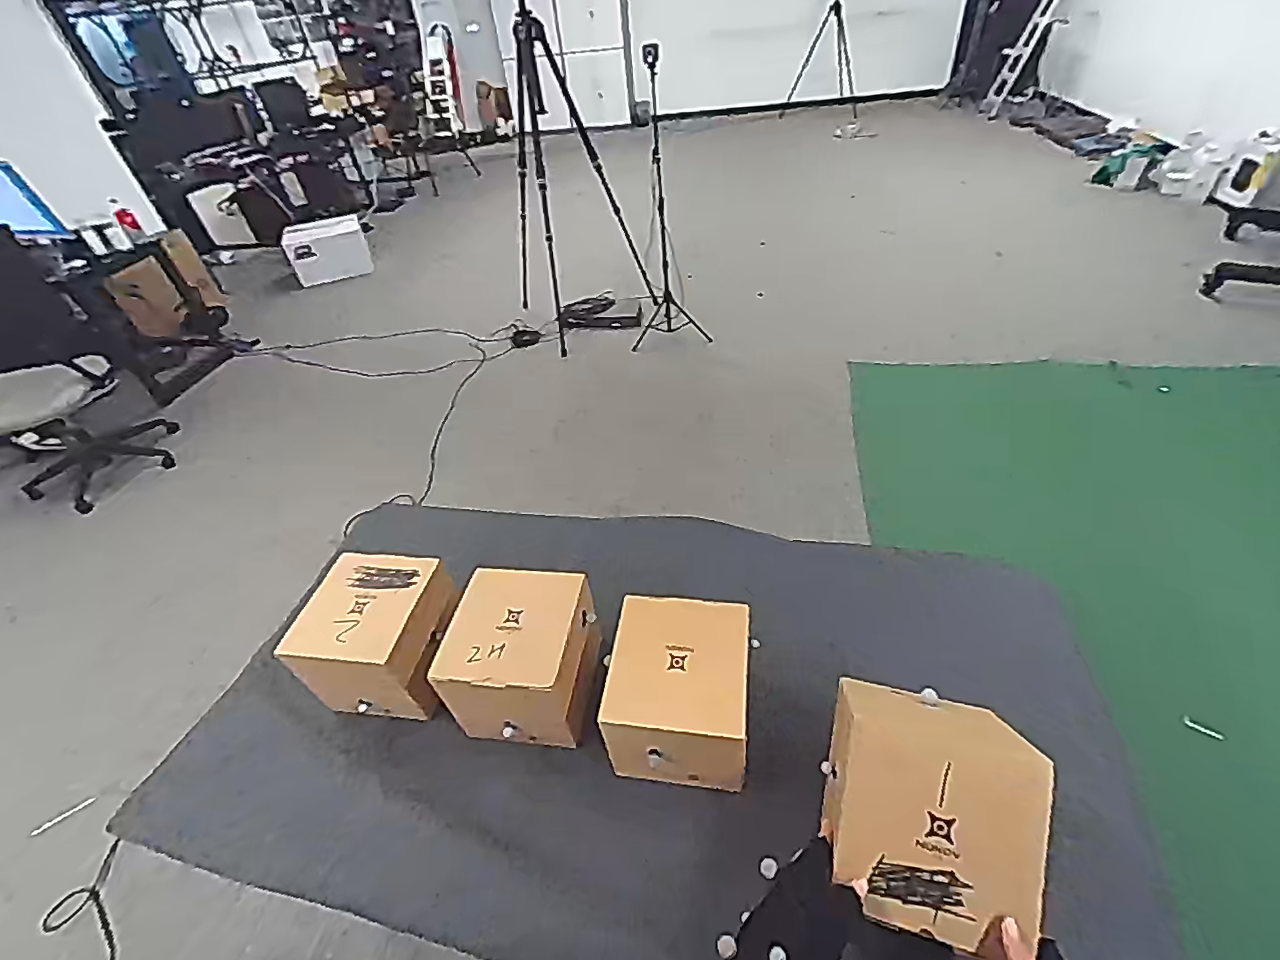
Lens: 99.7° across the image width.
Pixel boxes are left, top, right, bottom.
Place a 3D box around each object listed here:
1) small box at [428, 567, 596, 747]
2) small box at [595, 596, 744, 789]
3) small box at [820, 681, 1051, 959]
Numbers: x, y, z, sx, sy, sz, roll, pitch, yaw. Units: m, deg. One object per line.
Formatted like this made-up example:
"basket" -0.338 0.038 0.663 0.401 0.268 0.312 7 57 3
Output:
"small box" -0.164 0.247 0.765 0.168 0.176 0.179 2 42 10
"small box" 0.050 0.277 0.705 0.168 0.176 0.179 2 42 11
"small box" 0.283 0.328 0.556 0.168 0.176 0.179 9 84 17
